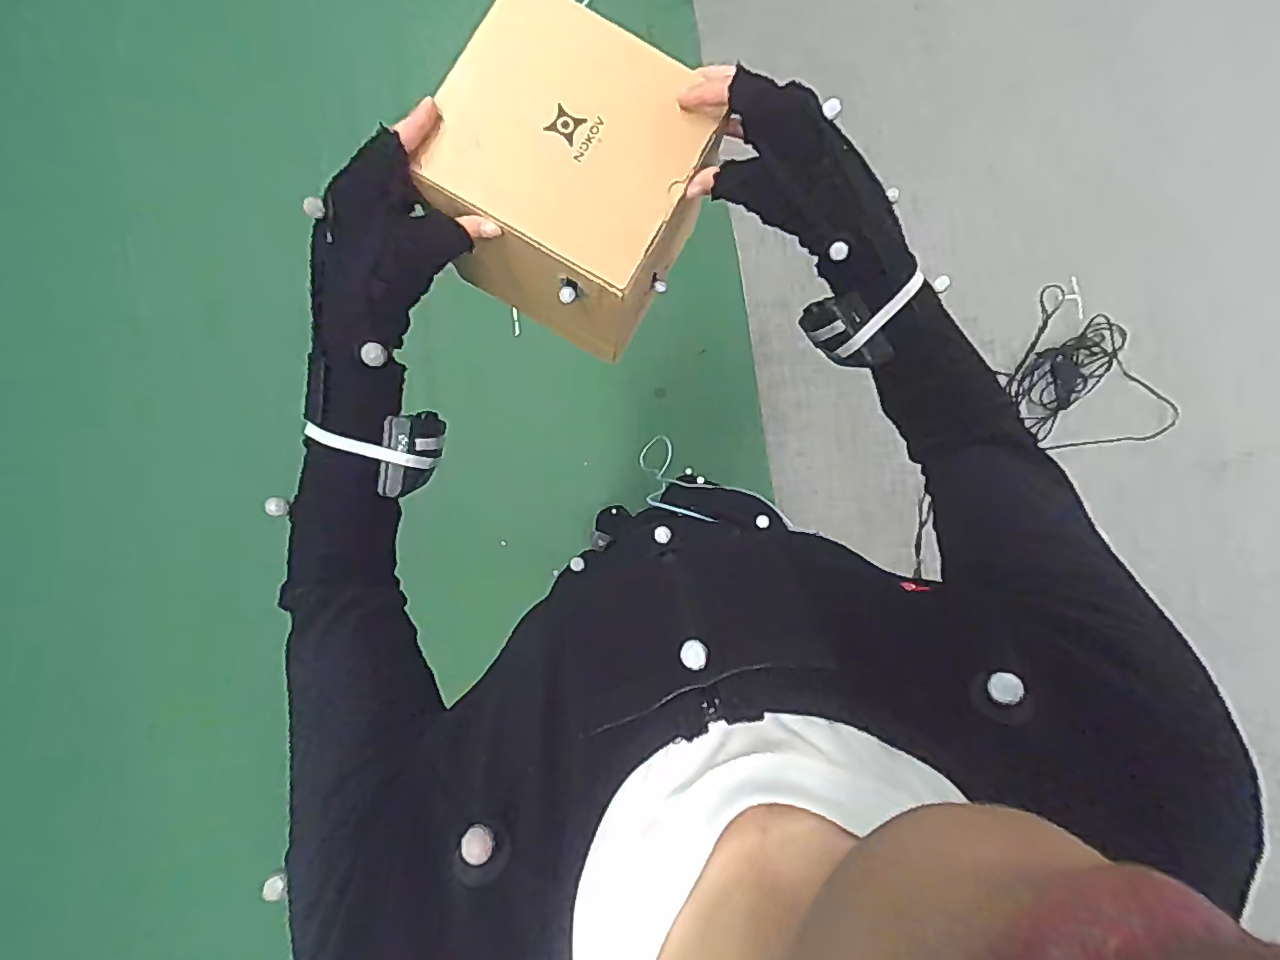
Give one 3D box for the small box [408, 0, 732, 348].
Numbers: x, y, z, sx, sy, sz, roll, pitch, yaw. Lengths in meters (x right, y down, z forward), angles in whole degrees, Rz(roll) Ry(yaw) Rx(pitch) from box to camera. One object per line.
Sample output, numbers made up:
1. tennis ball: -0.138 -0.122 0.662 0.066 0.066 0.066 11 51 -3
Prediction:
1. small box: -0.054 -0.238 0.458 0.179 0.176 0.168 30 83 -3
